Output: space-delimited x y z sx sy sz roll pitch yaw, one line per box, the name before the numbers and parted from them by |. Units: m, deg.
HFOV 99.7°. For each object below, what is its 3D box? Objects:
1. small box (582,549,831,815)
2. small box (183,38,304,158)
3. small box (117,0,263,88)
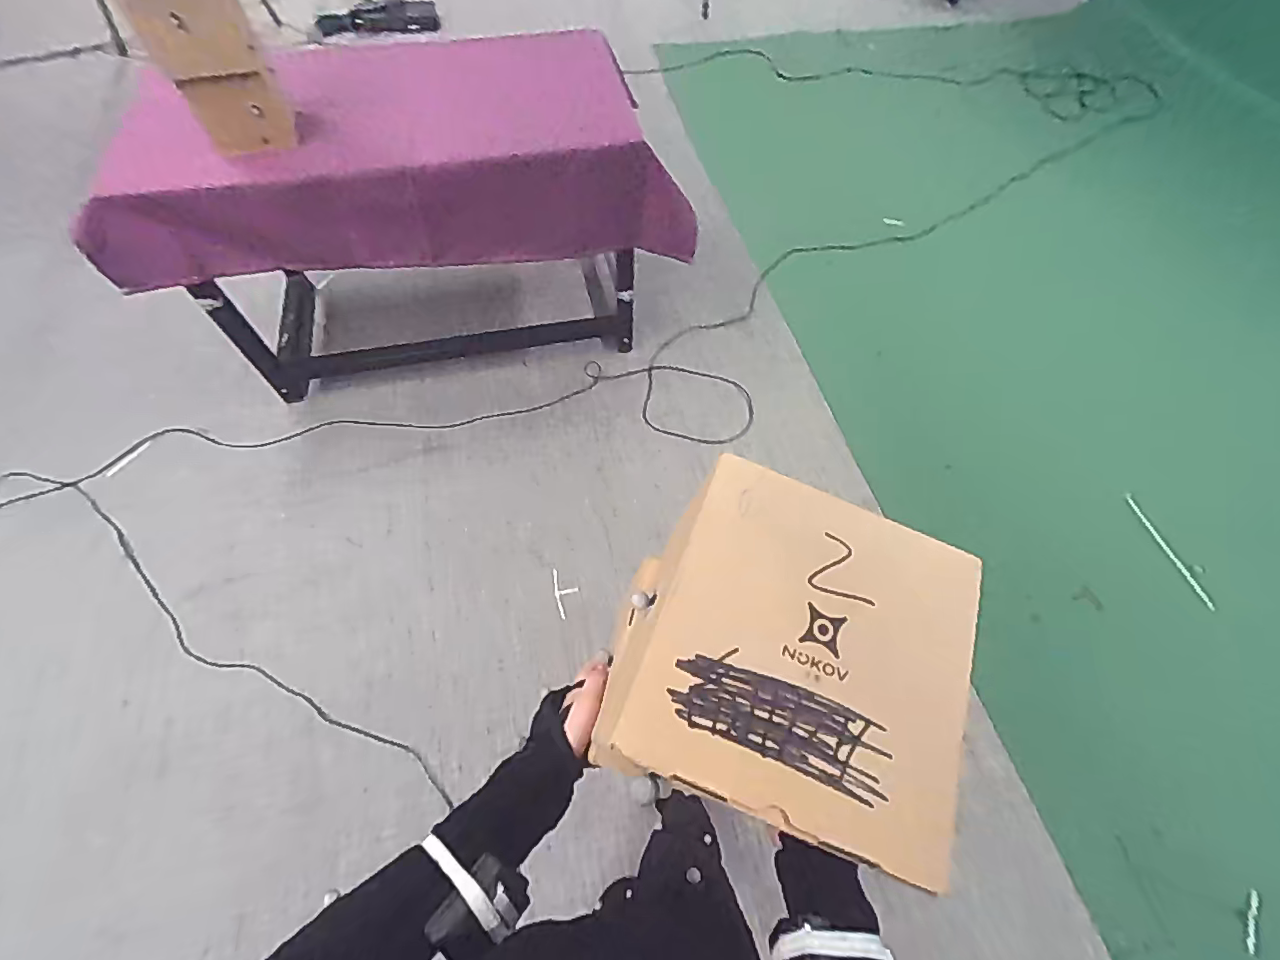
small box | 0.052 0.185 0.503 0.179 0.176 0.168 17 66 1
small box | -0.883 -0.850 1.217 0.168 0.176 0.179 -16 61 -11
small box | -0.875 -0.911 1.063 0.179 0.176 0.168 -17 62 -11
